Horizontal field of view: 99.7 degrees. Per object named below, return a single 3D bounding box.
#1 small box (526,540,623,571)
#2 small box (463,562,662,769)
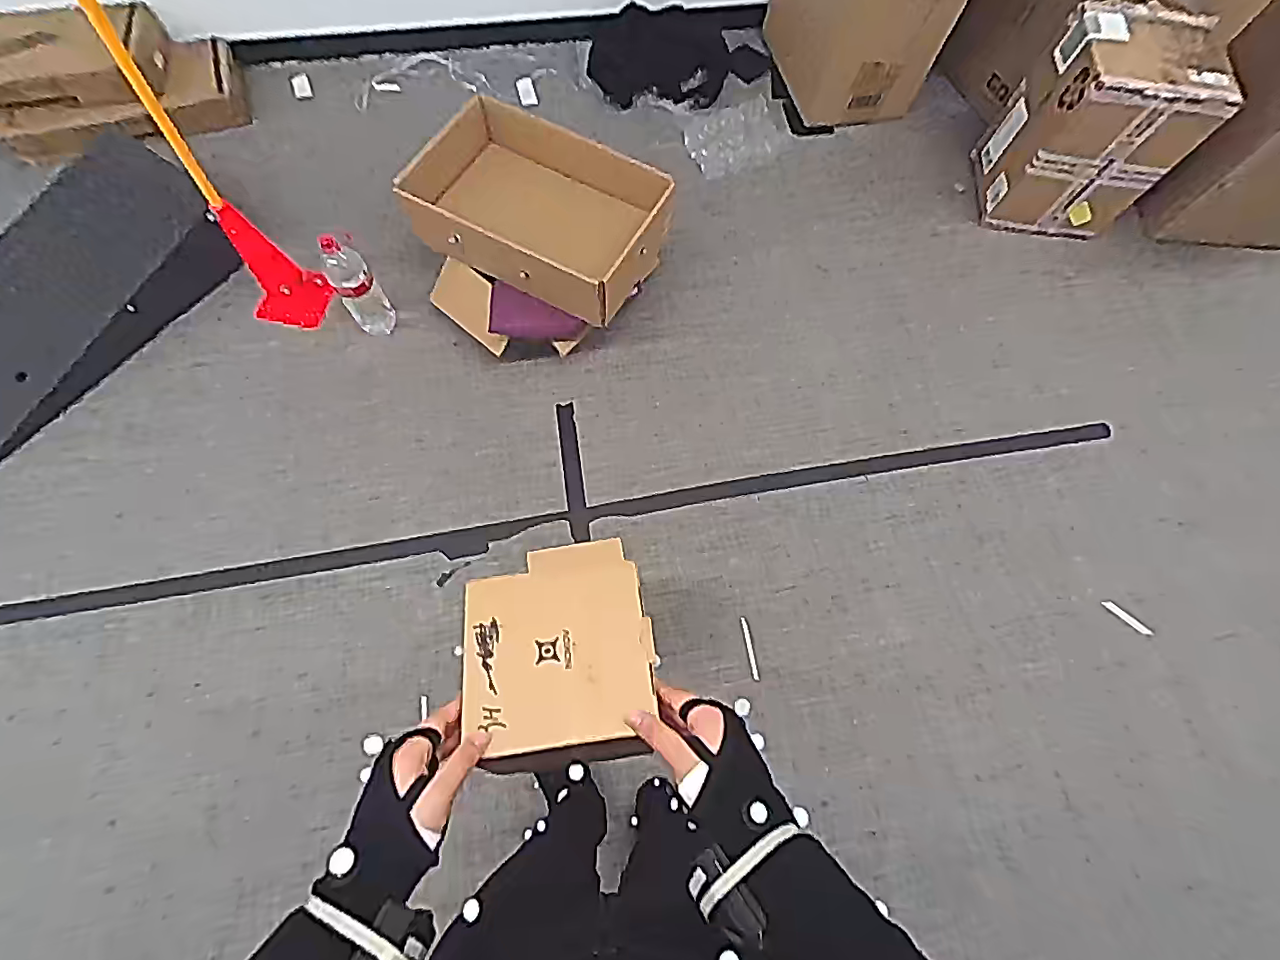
[{"bbox_3d":[-0.106,0.222,0.979,0.168,0.176,0.179,-8,70,-7],"label":"small box"},{"bbox_3d":[-0.079,0.202,0.579,0.179,0.176,0.168,-5,58,-6],"label":"small box"}]
